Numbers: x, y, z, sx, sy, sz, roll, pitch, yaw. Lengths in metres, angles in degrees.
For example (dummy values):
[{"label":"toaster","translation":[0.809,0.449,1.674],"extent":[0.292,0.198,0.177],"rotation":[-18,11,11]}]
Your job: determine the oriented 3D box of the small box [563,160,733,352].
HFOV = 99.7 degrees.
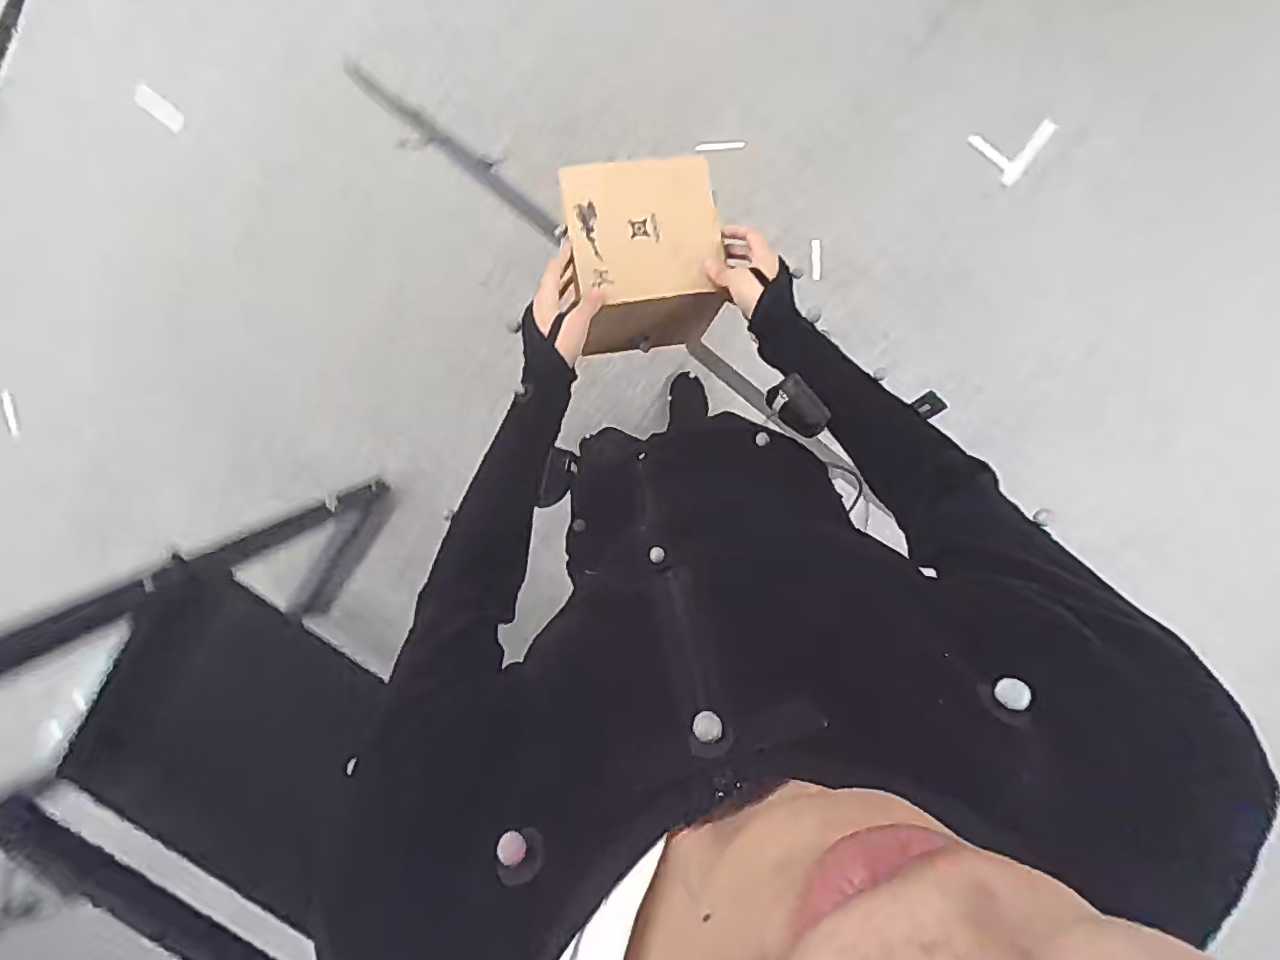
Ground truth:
[{"label":"small box","translation":[0.000,-0.273,0.687],"extent":[0.179,0.176,0.168],"rotation":[-8,85,-9]}]
